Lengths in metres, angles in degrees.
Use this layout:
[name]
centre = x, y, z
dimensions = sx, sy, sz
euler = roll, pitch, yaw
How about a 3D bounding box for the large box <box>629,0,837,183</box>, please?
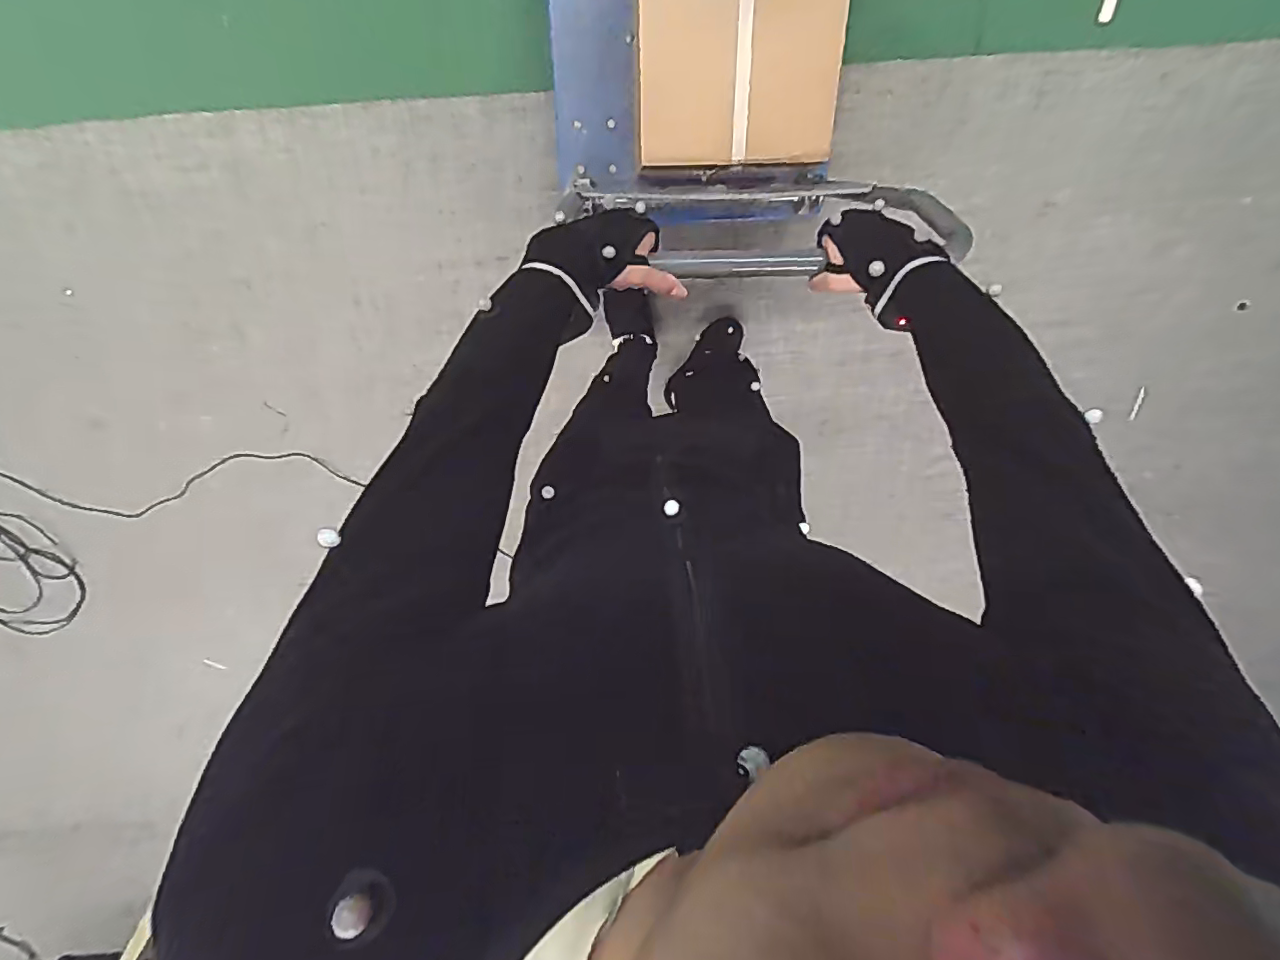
[large box]
centre = 0.139, -0.760, 0.944
dimensions = 0.320, 0.320, 0.408
euler = -3, 116, -2
